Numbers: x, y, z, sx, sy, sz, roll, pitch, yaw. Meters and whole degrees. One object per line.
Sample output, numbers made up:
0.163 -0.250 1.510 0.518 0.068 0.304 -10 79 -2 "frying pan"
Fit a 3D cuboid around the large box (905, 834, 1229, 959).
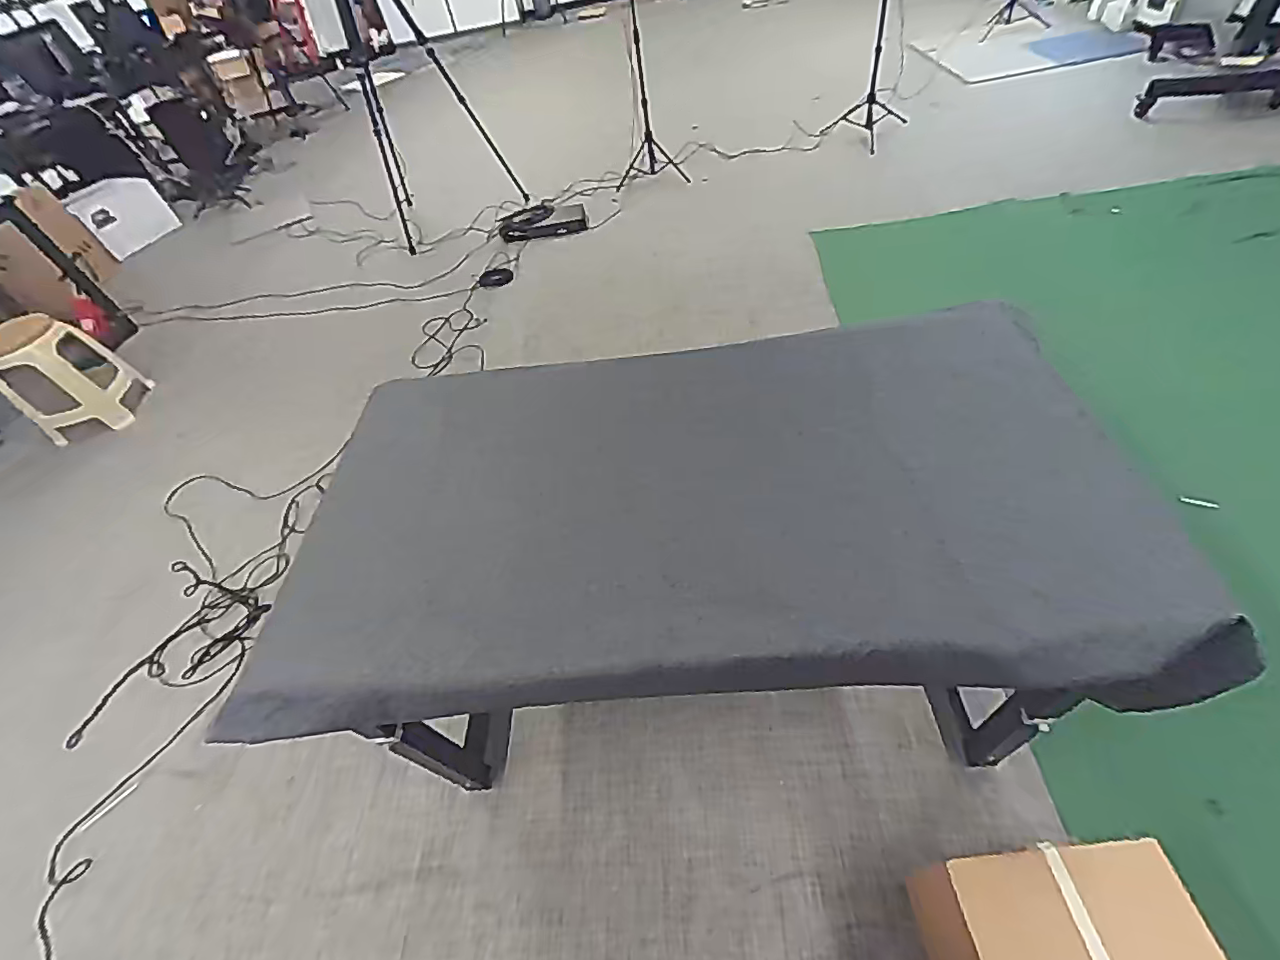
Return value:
0.656 0.796 0.803 0.320 0.320 0.408 -9 50 4 "large box"
